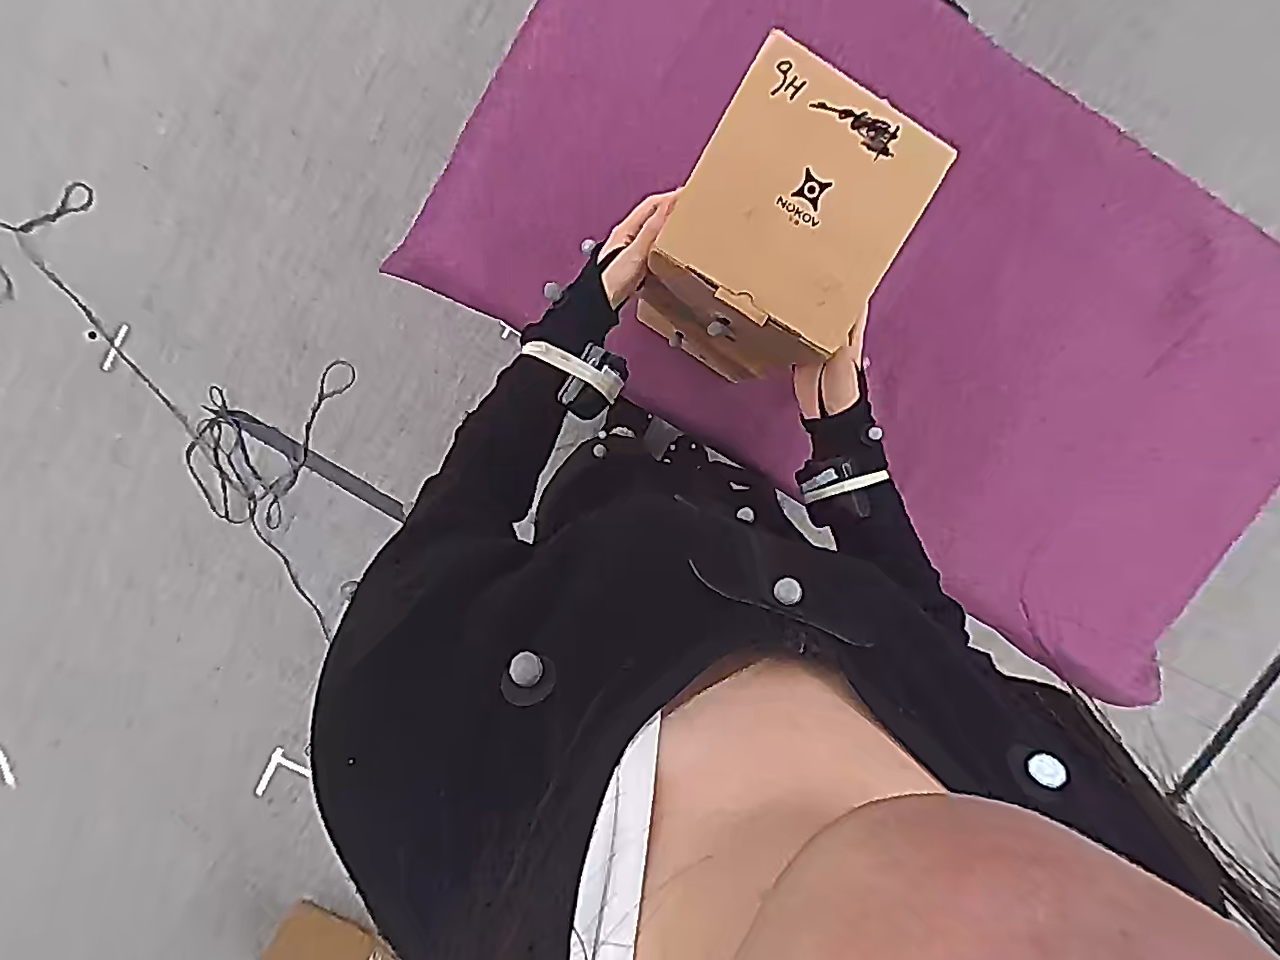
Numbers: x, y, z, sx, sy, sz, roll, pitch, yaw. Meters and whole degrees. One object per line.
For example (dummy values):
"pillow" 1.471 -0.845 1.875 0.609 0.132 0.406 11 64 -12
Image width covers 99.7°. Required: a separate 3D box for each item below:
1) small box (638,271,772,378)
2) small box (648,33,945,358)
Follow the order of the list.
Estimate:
"small box" 0.111 -0.239 0.661 0.168 0.176 0.179 32 96 -5
"small box" 0.119 -0.225 0.490 0.168 0.176 0.179 30 97 -6
